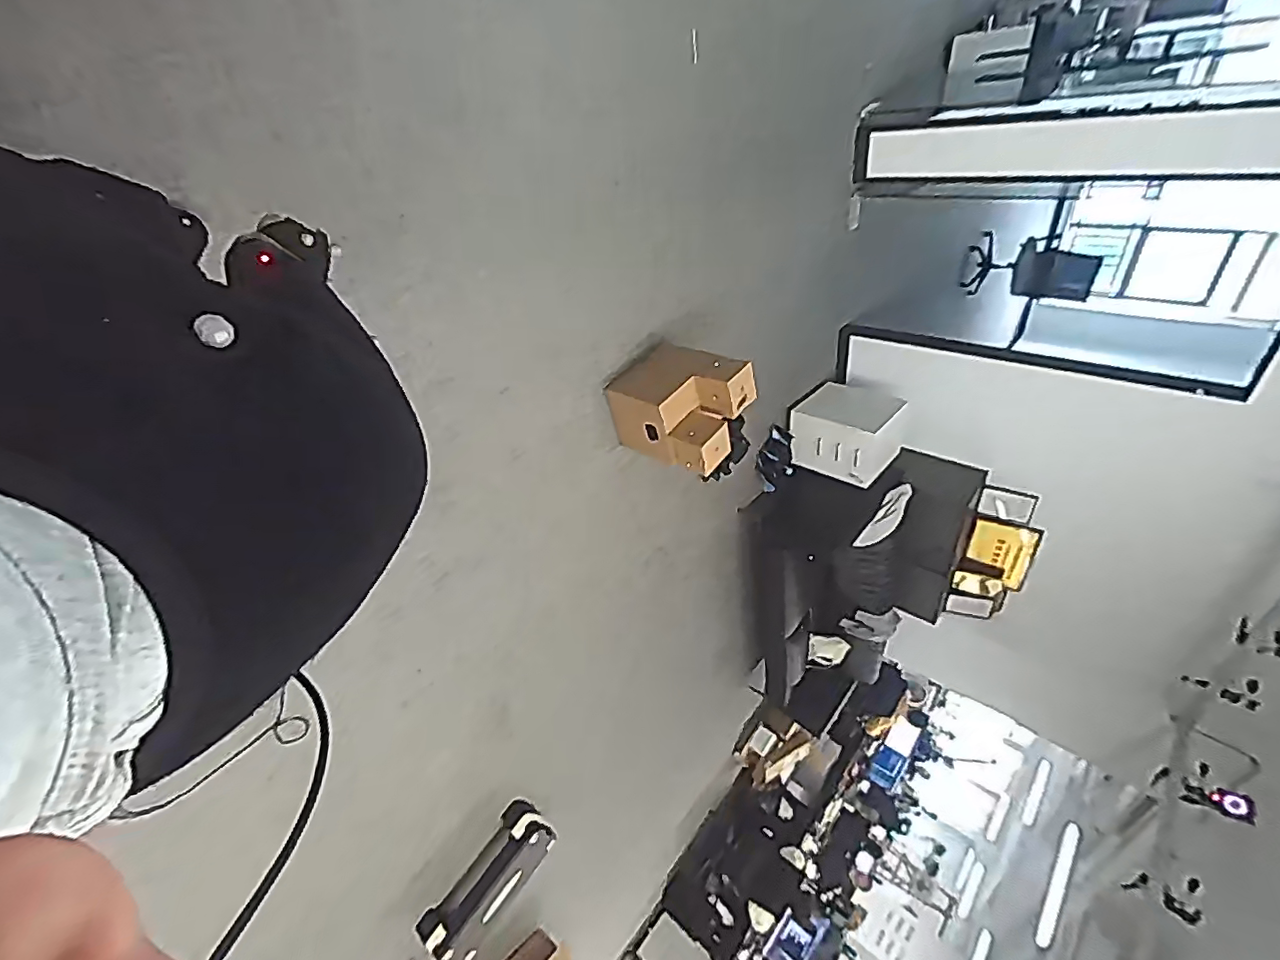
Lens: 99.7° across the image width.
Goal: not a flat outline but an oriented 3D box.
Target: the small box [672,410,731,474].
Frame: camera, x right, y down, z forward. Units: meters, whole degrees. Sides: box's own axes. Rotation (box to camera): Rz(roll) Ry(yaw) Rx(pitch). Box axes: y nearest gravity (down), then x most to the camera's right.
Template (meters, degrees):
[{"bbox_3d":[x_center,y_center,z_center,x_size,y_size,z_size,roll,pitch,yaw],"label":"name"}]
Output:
[{"bbox_3d":[0.245,-0.158,2.197,0.179,0.176,0.168,-48,142,-25],"label":"small box"}]

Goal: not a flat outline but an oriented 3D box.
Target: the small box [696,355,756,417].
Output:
[{"bbox_3d":[0.349,-0.387,2.201,0.168,0.176,0.179,-43,134,-28],"label":"small box"}]
